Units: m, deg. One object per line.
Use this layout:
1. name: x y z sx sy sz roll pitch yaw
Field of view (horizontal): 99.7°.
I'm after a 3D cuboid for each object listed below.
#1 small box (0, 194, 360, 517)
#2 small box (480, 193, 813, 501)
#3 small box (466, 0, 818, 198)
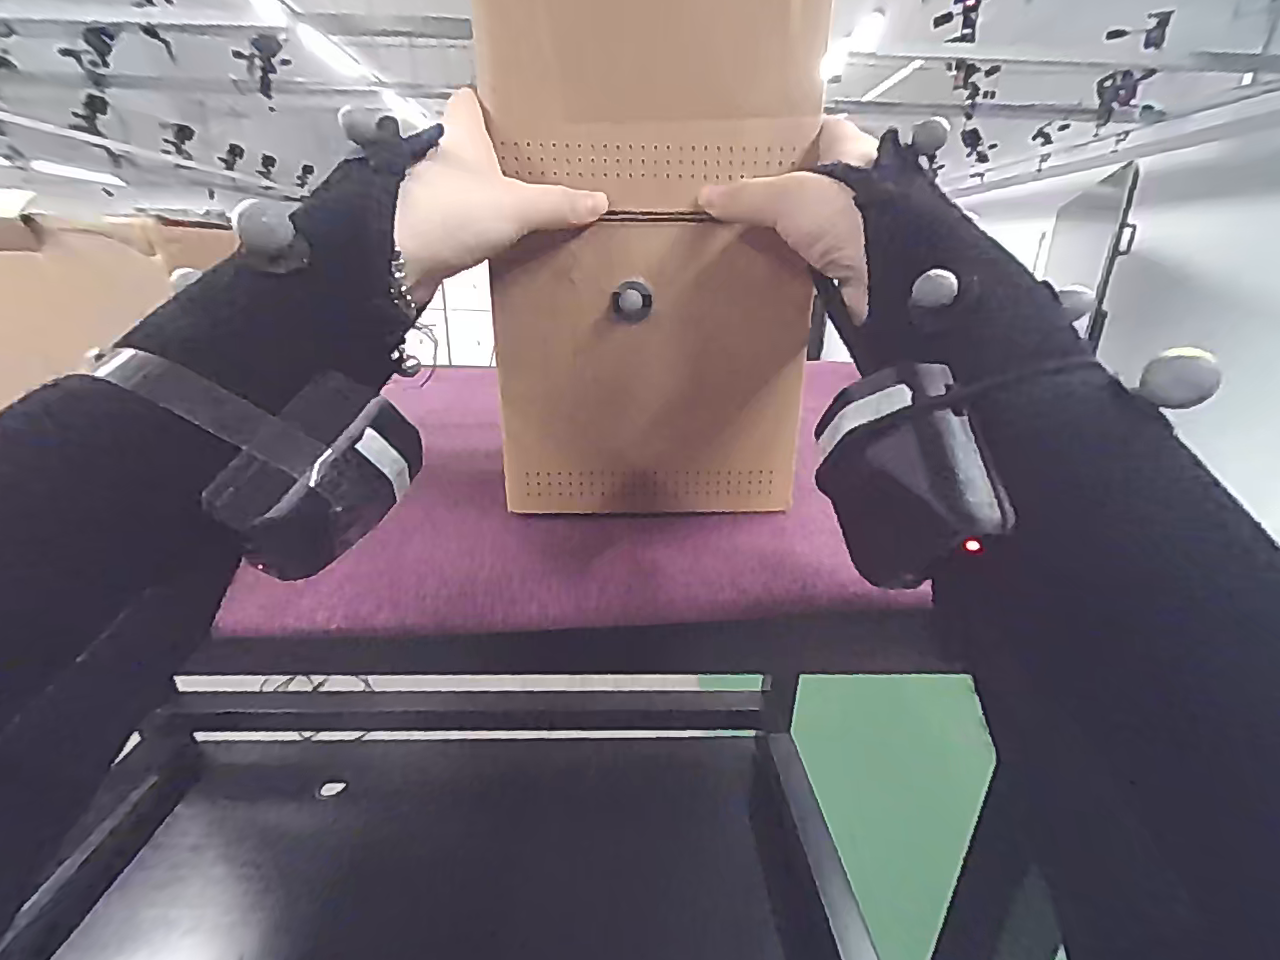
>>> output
1. small box: -0.309 -0.083 0.355 0.168 0.176 0.179 2 20 -1
2. small box: 0.003 -0.088 0.374 0.179 0.176 0.168 -1 19 -3
3. small box: 0.000 -0.244 0.325 0.179 0.176 0.168 0 19 -2
